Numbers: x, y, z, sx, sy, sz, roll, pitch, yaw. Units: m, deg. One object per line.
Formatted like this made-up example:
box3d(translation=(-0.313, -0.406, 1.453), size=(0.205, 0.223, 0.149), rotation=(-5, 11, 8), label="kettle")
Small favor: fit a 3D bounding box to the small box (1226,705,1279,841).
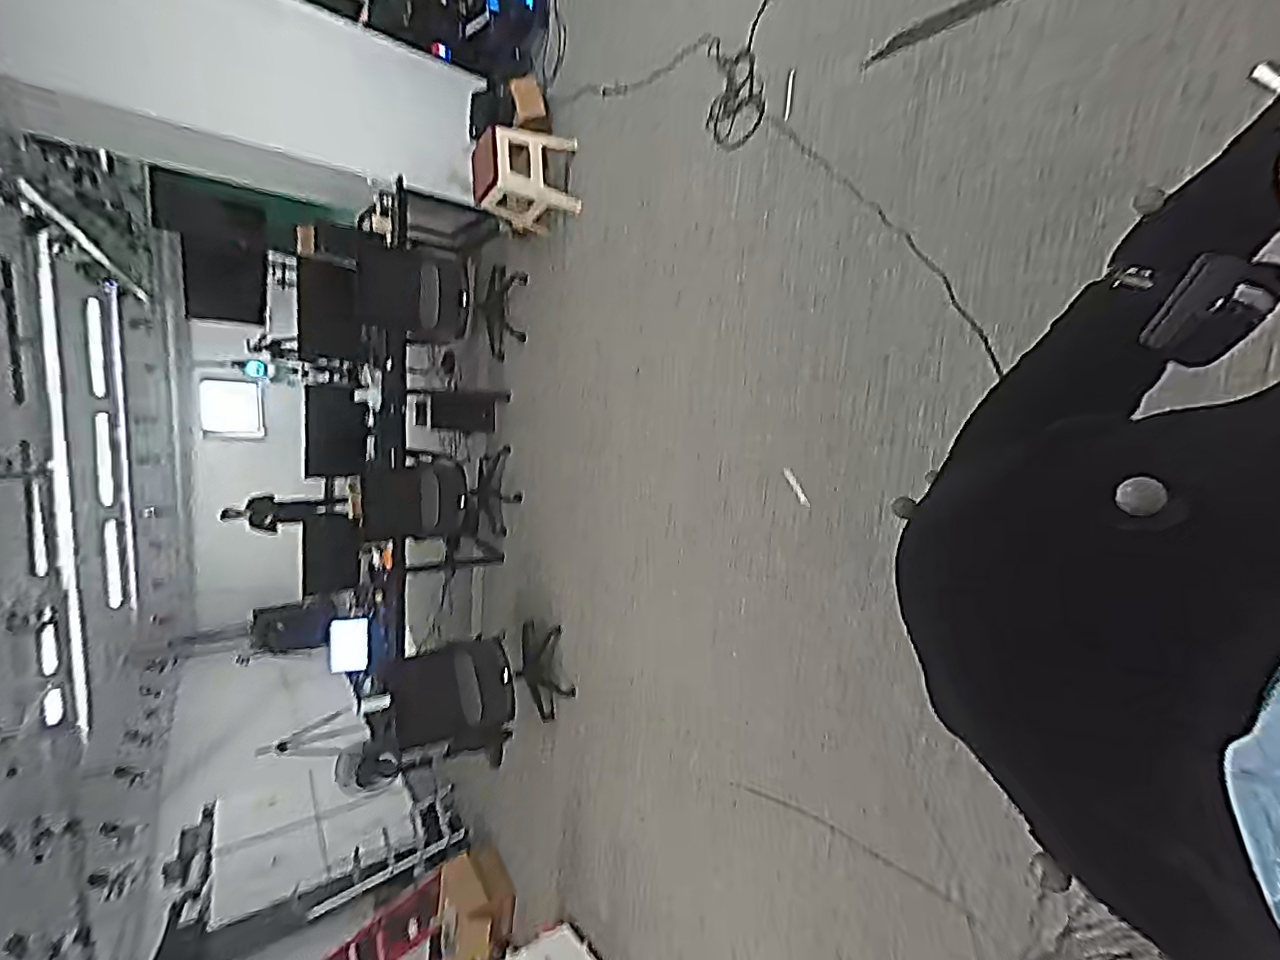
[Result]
box3d(translation=(1.152, 0.521, 0.932), size=(0.168, 0.176, 0.179), rotation=(7, 97, 53), label="small box")
